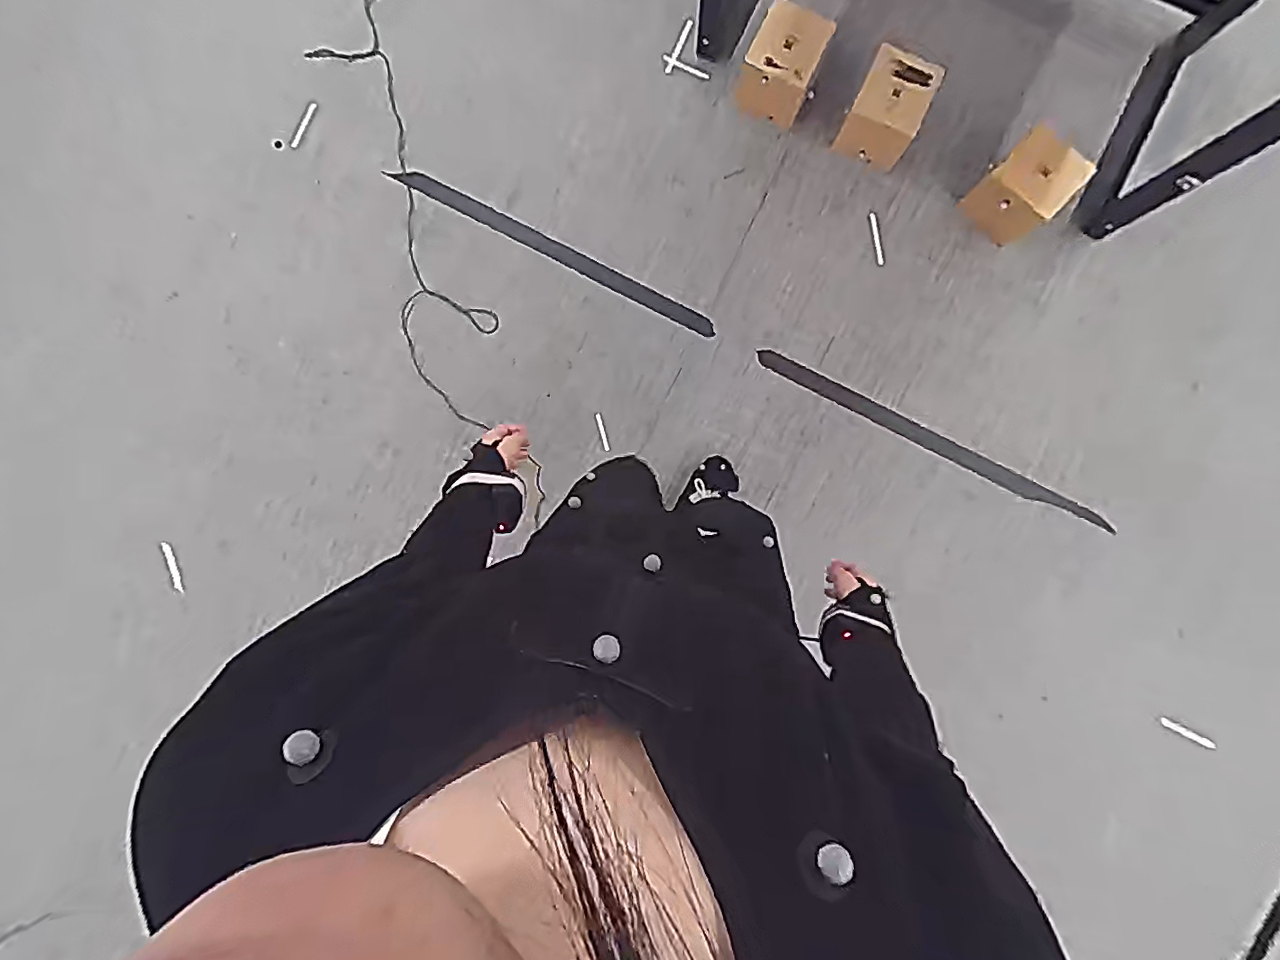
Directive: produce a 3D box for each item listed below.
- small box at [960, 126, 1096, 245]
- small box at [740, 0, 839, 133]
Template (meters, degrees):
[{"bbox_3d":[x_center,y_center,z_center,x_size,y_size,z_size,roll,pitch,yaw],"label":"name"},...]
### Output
[{"bbox_3d":[0.960,-0.722,1.355,0.179,0.176,0.168,44,93,3],"label":"small box"},{"bbox_3d":[0.370,-1.045,1.381,0.168,0.176,0.179,28,91,2],"label":"small box"}]
